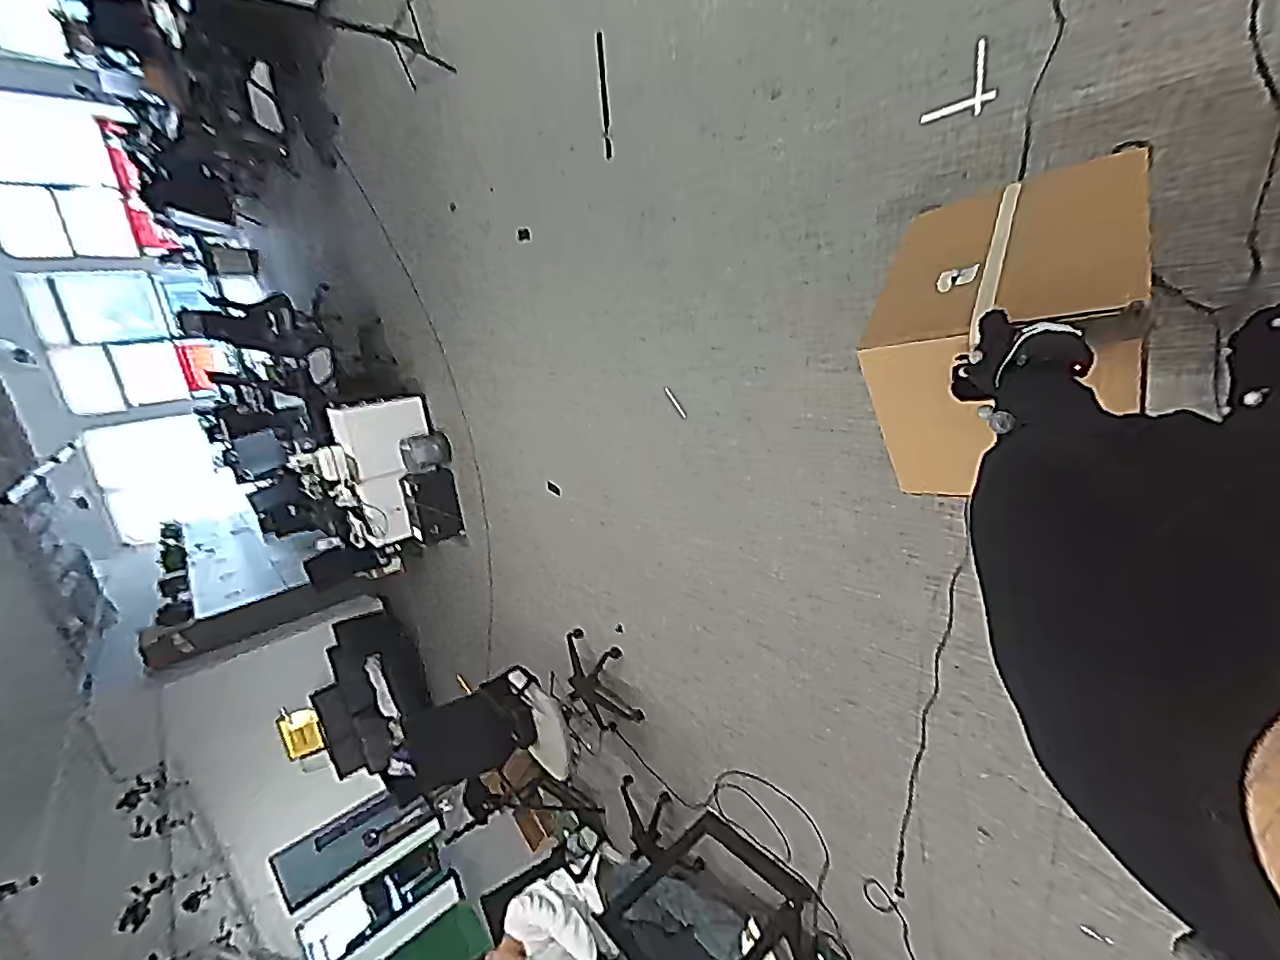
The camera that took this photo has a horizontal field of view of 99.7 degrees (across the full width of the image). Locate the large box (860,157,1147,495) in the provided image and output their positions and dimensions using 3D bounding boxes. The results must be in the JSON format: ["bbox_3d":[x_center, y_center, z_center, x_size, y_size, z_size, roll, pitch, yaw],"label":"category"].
[{"bbox_3d":[0.589,-0.226,0.865,0.320,0.408,0.320,0,137,42],"label":"large box"}]
